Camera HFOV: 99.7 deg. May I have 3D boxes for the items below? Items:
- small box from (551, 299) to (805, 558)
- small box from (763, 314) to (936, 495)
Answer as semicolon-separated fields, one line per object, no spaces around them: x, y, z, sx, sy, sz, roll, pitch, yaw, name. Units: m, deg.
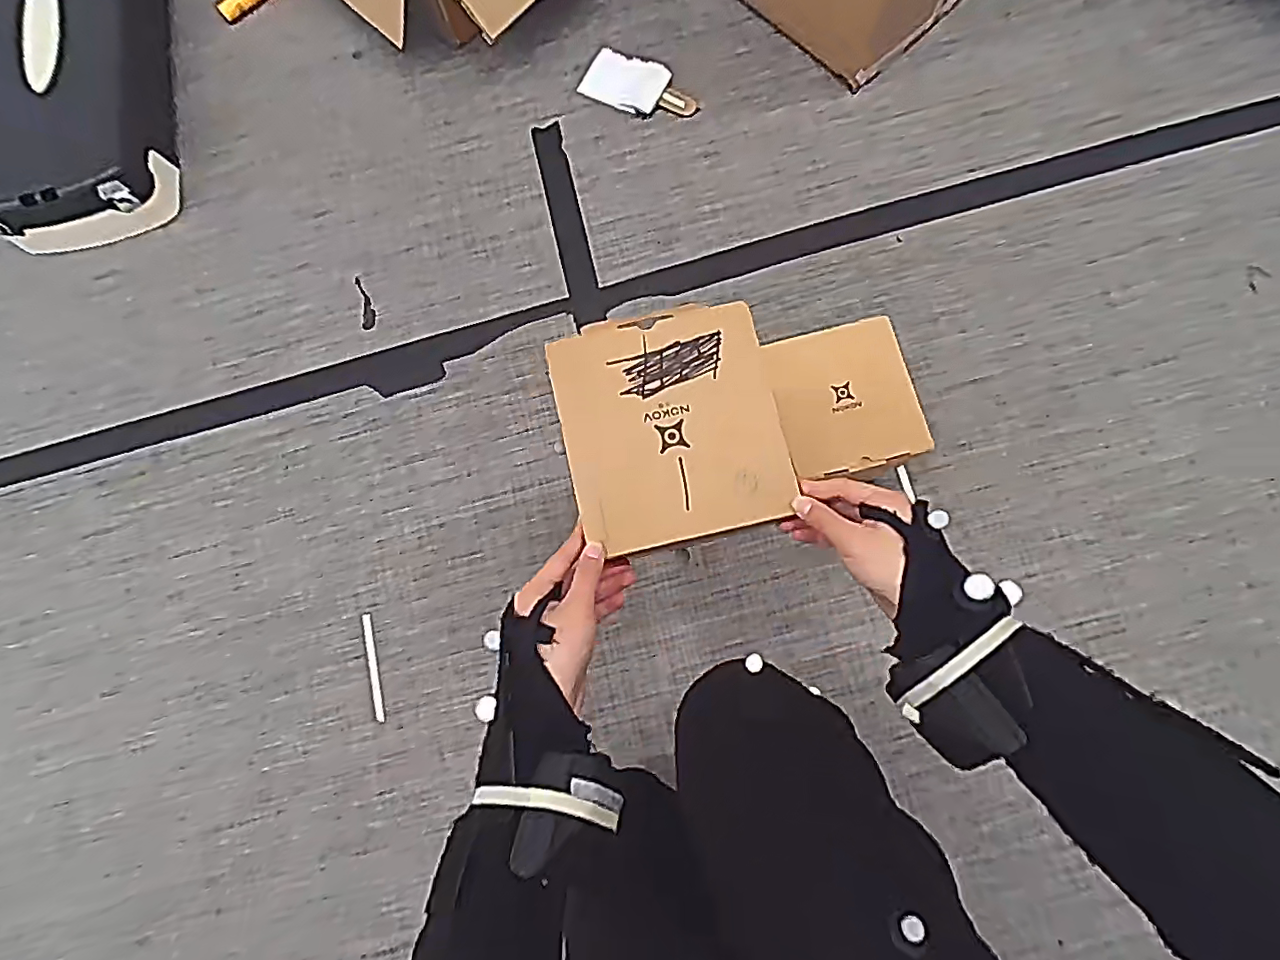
0.025;-0.032;0.490;0.168;0.176;0.179;-13;81;-2;small box
0.244;-0.085;0.711;0.168;0.176;0.179;-14;79;0;small box
